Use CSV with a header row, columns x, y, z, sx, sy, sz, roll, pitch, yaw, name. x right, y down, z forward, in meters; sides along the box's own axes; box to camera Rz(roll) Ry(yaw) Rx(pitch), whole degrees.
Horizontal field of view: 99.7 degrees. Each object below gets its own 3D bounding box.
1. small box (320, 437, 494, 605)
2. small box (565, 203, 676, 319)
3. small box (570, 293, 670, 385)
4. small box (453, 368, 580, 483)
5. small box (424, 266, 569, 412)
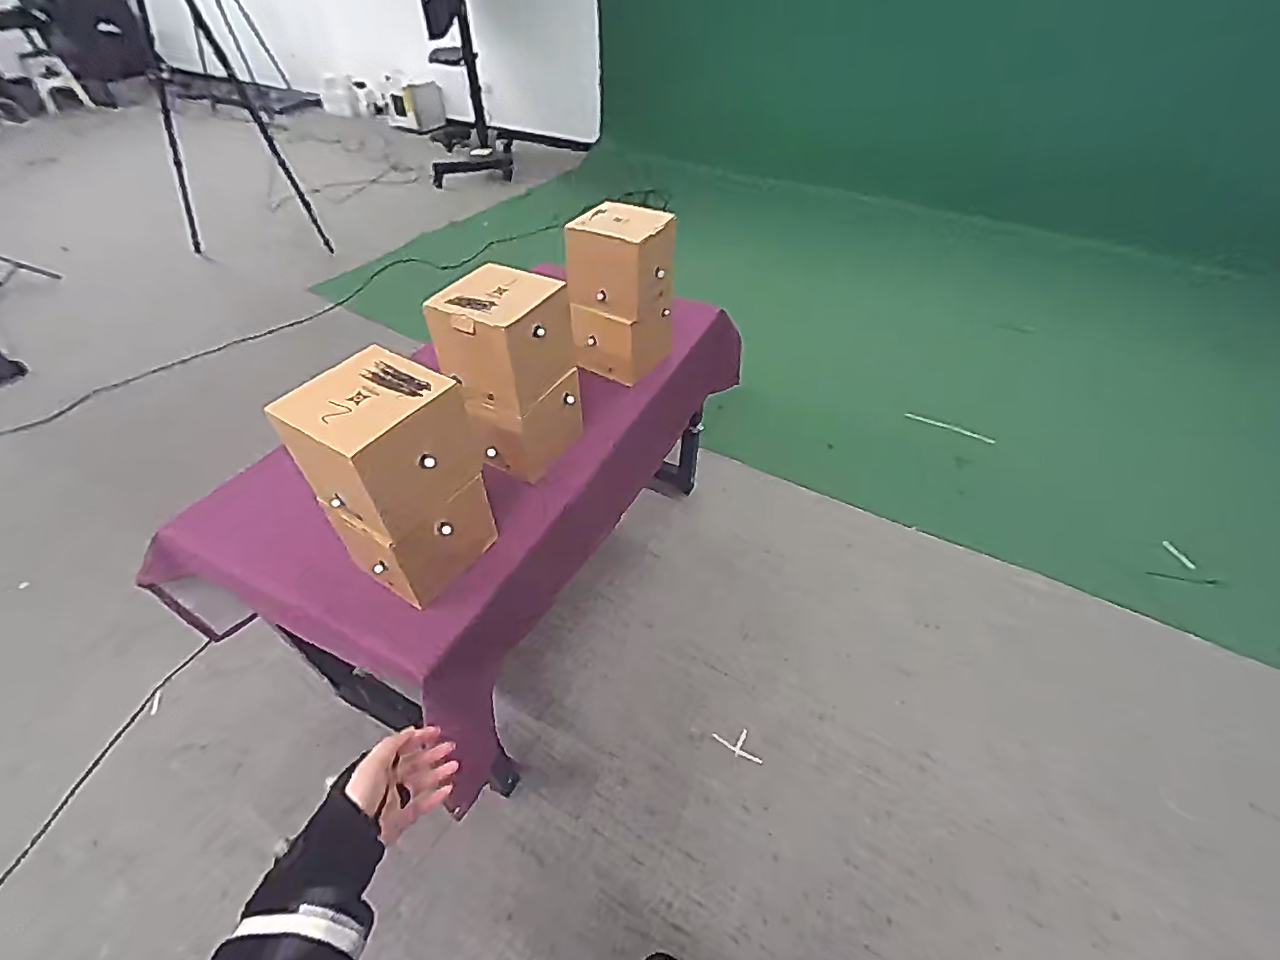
x,y,z,sx,sy,sz,roll,pitch,yaw,name
-0.360,0.068,0.870,0.168,0.176,0.179,26,51,22,small box
-0.039,-0.467,1.162,0.179,0.176,0.168,23,49,20,small box
-0.041,-0.350,1.278,0.168,0.176,0.179,26,50,22,small box
-0.230,-0.127,1.059,0.168,0.176,0.179,22,50,21,small box
-0.235,-0.245,0.943,0.168,0.176,0.179,20,48,18,small box
